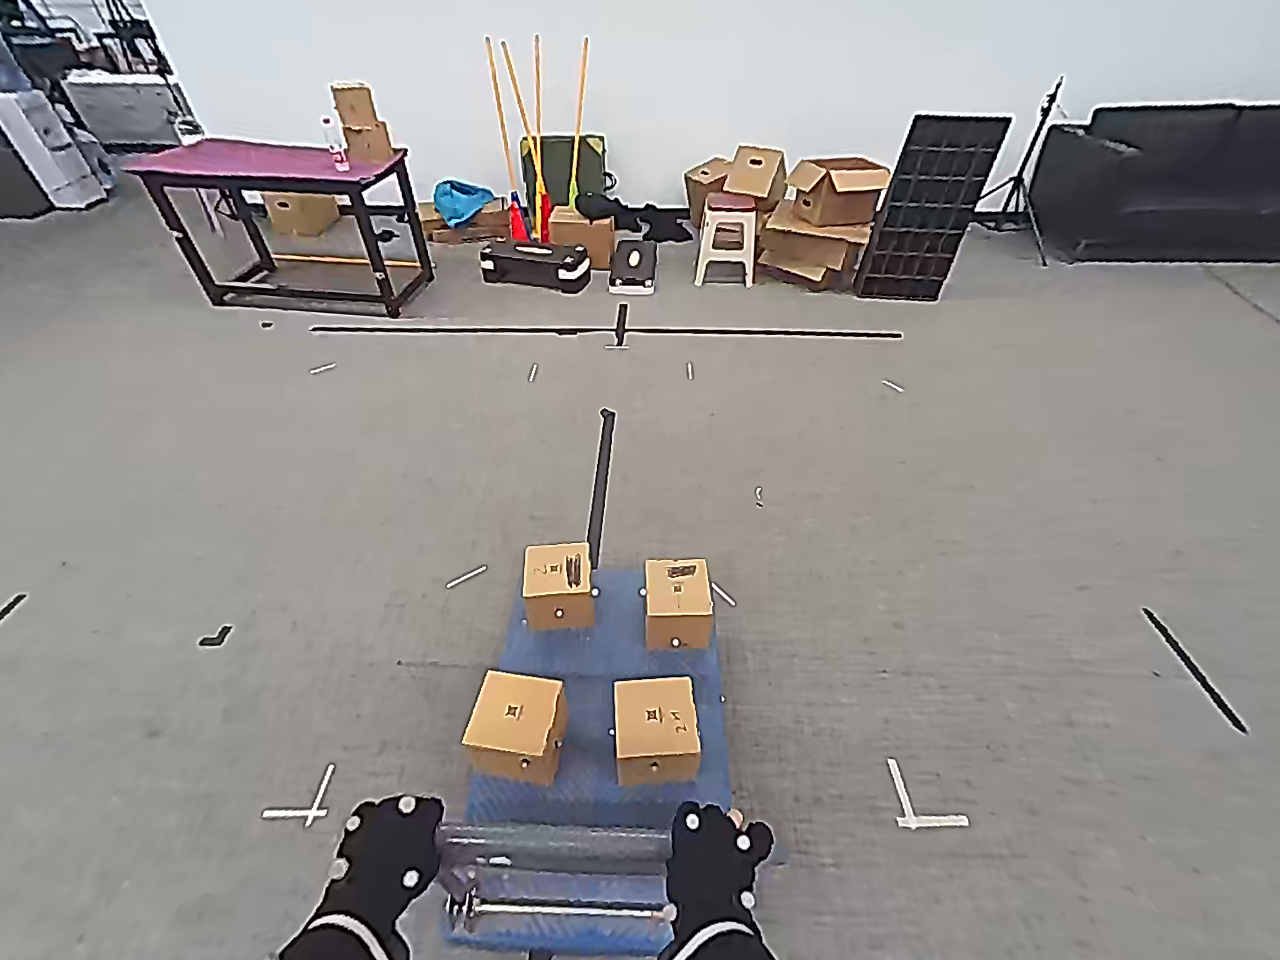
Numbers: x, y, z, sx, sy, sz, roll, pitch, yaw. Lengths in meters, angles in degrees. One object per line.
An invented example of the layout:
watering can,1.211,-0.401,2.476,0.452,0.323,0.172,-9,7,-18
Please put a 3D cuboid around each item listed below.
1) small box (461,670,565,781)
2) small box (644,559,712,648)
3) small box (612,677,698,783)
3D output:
small box,-0.274,0.552,1.211,0.179,0.176,0.168,7,43,5
small box,0.096,0.330,1.447,0.168,0.176,0.179,0,44,-1
small box,0.030,0.560,1.205,0.179,0.176,0.168,-2,44,-3
